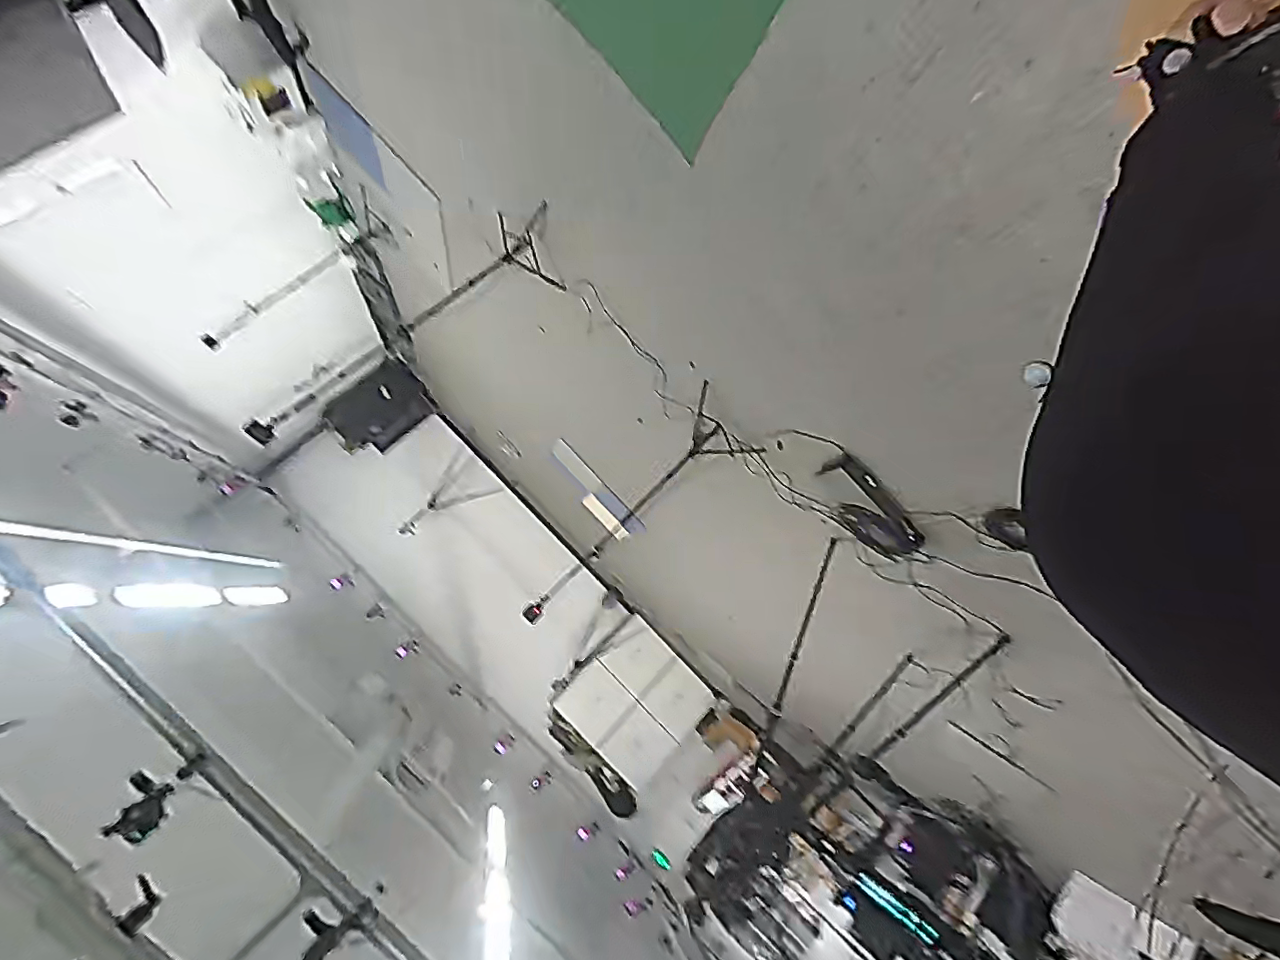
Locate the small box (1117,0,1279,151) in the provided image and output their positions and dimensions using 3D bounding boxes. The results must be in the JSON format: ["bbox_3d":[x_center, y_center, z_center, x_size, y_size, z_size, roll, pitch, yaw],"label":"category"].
[{"bbox_3d":[0.570,-0.448,0.496,0.179,0.176,0.168,2,-171,-43],"label":"small box"}]
